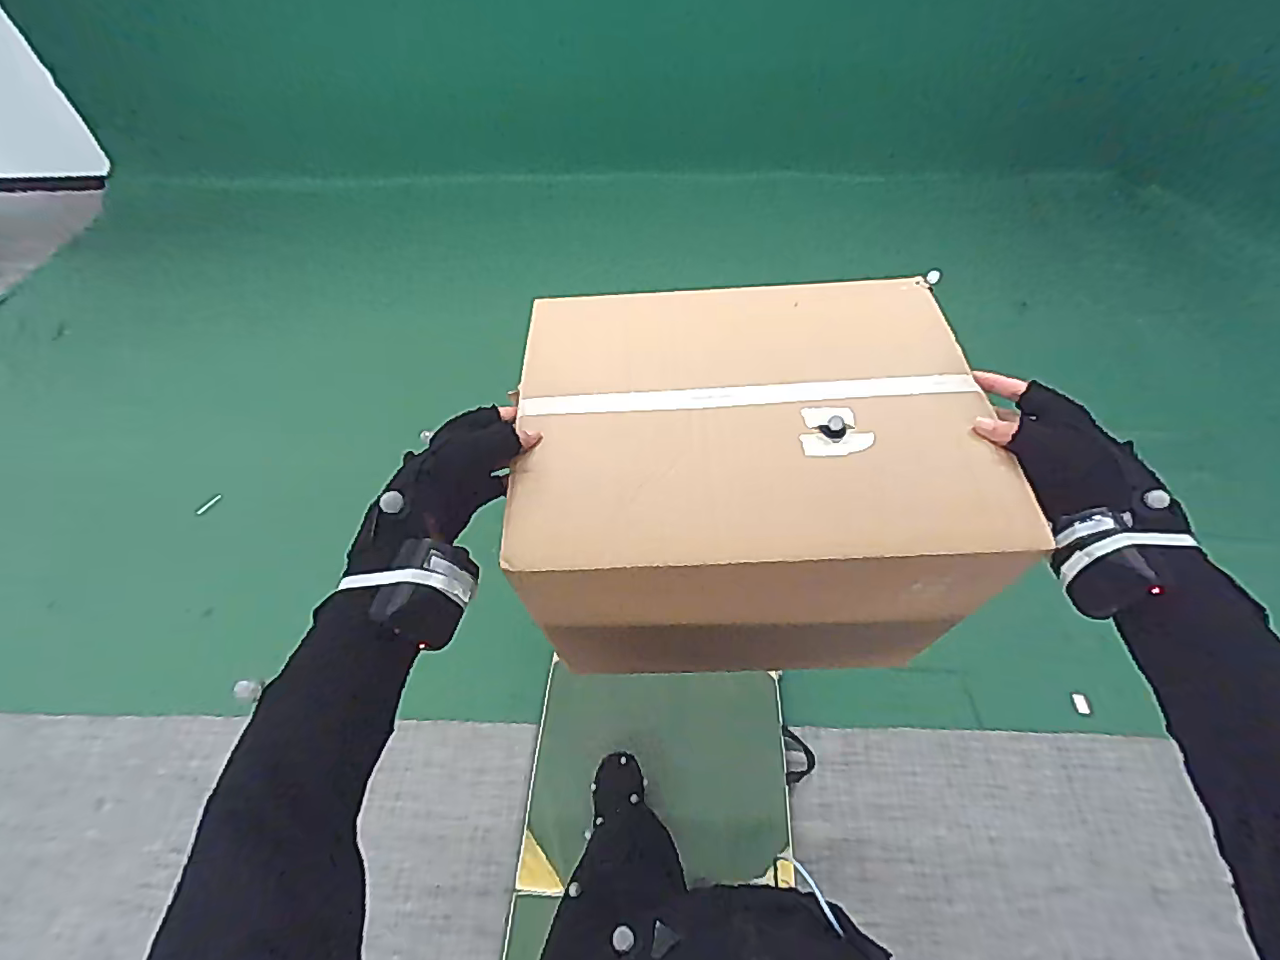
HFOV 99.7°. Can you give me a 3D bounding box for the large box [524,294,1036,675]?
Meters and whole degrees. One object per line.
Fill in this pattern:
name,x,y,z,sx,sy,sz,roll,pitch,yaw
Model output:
large box,0.106,0.020,0.619,0.408,0.320,0.320,-2,56,1
